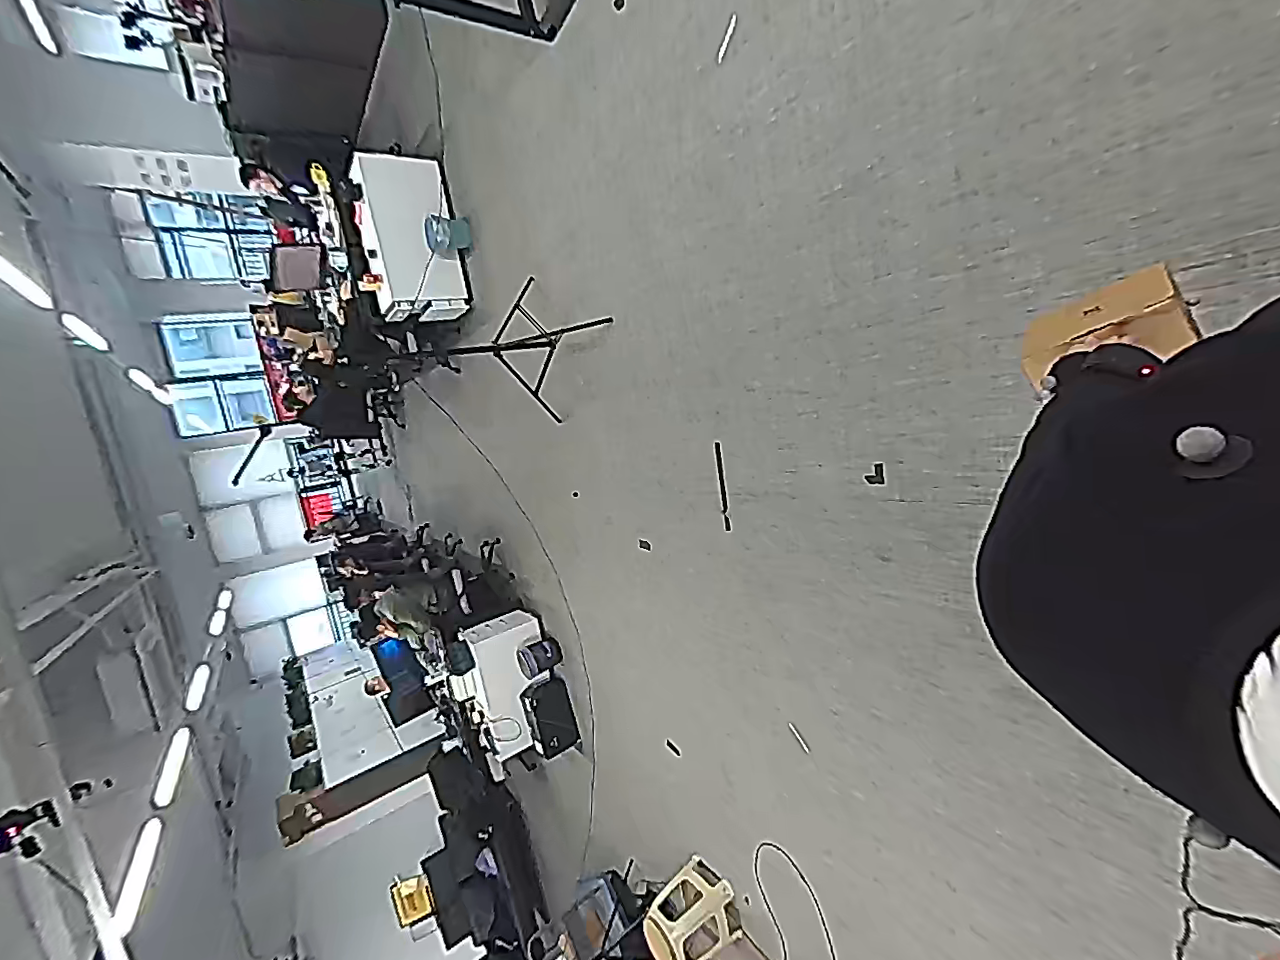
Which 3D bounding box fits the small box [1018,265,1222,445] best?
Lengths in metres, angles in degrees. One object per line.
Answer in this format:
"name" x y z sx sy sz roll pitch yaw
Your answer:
"small box" 0.674 -0.167 0.766 0.168 0.179 0.176 -26 101 48
